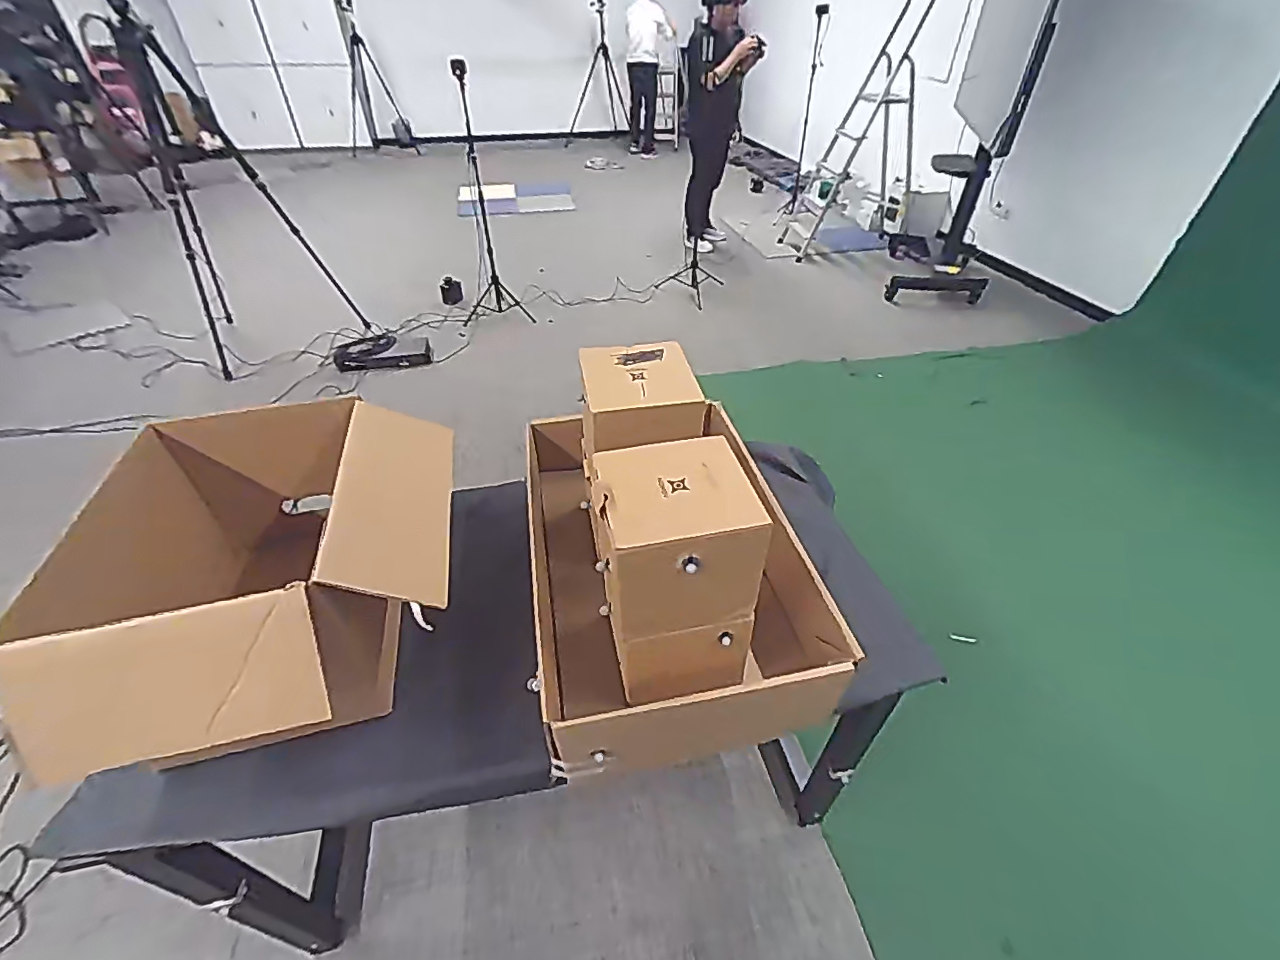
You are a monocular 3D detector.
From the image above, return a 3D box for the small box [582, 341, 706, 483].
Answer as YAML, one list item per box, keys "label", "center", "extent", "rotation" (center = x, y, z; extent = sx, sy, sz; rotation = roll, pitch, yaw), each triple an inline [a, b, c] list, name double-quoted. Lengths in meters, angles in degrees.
- label: "small box"
  center: [-0.002, -0.103, 0.868]
  extent: [0.168, 0.176, 0.179]
  rotation: [-7, 45, -8]

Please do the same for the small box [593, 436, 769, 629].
- label: "small box"
  center: [0.042, 0.068, 0.684]
  extent: [0.179, 0.176, 0.168]
  rotation: [-8, 43, -9]
